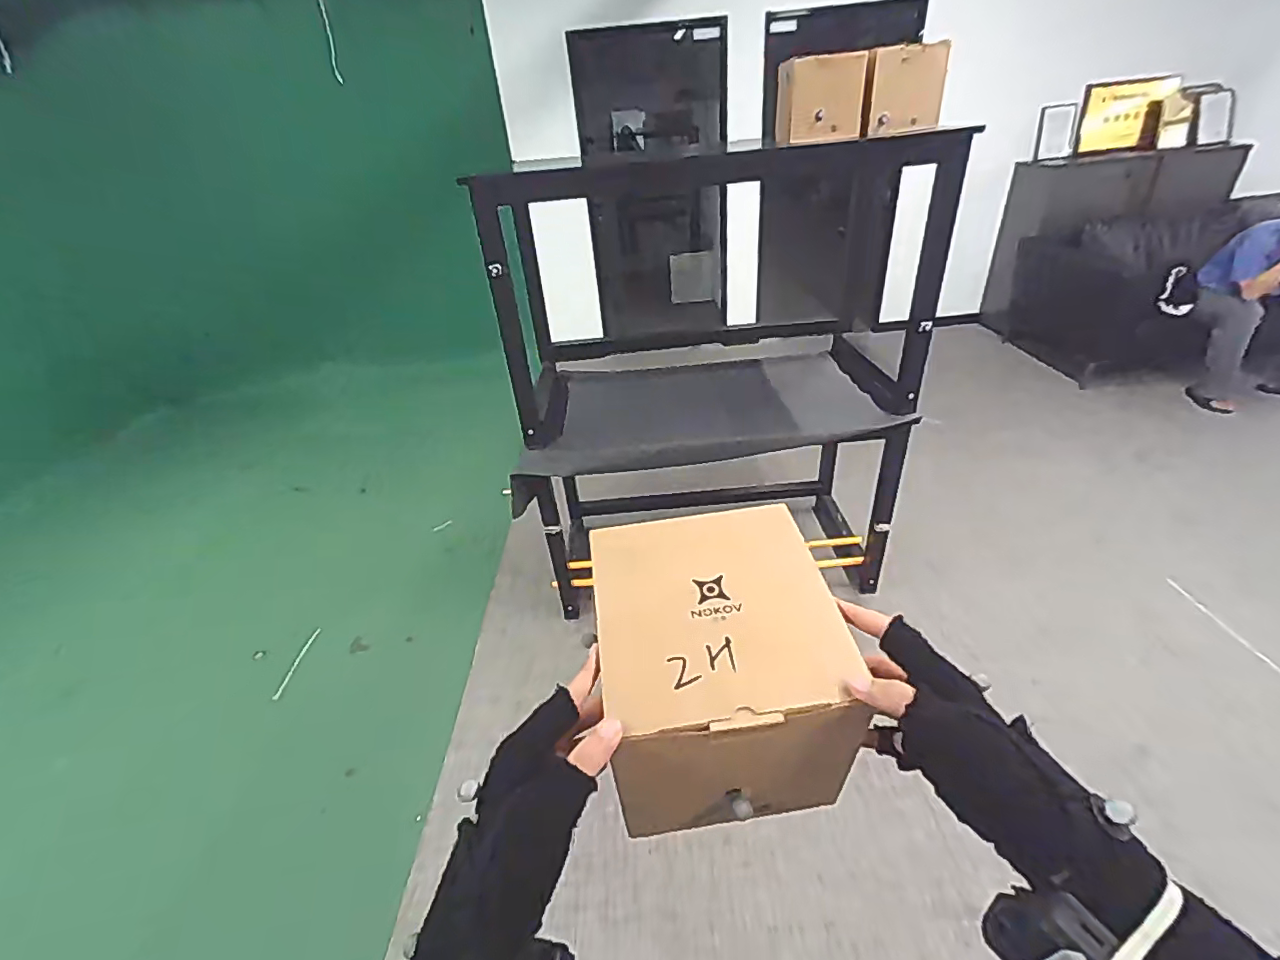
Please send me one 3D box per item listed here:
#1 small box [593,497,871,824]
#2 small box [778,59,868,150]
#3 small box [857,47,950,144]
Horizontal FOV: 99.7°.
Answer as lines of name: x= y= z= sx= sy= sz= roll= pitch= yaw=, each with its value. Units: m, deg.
small box: x=0.054 y=0.138 z=0.432 sx=0.168 sy=0.176 sz=0.179 roll=-7 pitch=39 yaw=-2
small box: x=0.439 y=-0.913 z=1.326 sx=0.168 sy=0.176 sz=0.179 roll=-3 pitch=33 yaw=4
small box: x=0.620 y=-0.929 z=1.318 sx=0.168 sy=0.176 sz=0.179 roll=-4 pitch=31 yaw=4
